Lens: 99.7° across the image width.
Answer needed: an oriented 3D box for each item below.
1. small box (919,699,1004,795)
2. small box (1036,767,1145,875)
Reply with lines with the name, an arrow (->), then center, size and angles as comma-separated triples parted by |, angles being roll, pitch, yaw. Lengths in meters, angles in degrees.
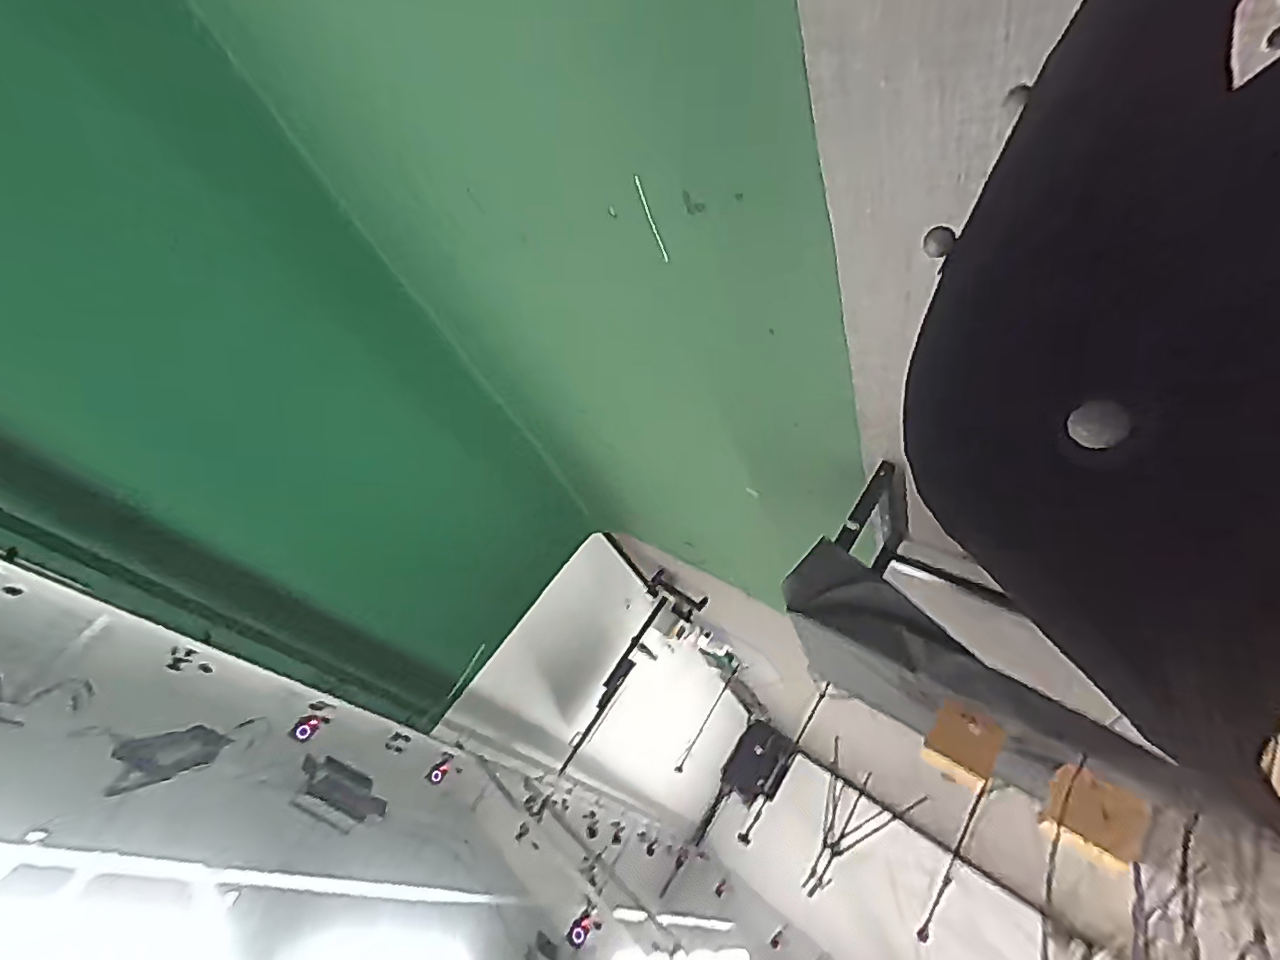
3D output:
small box -> 0.934, 0.774, 1.574 | 0.168, 0.176, 0.179 | 22, 154, 37
small box -> 1.159, 0.873, 1.393 | 0.168, 0.176, 0.179 | 23, 157, 37
